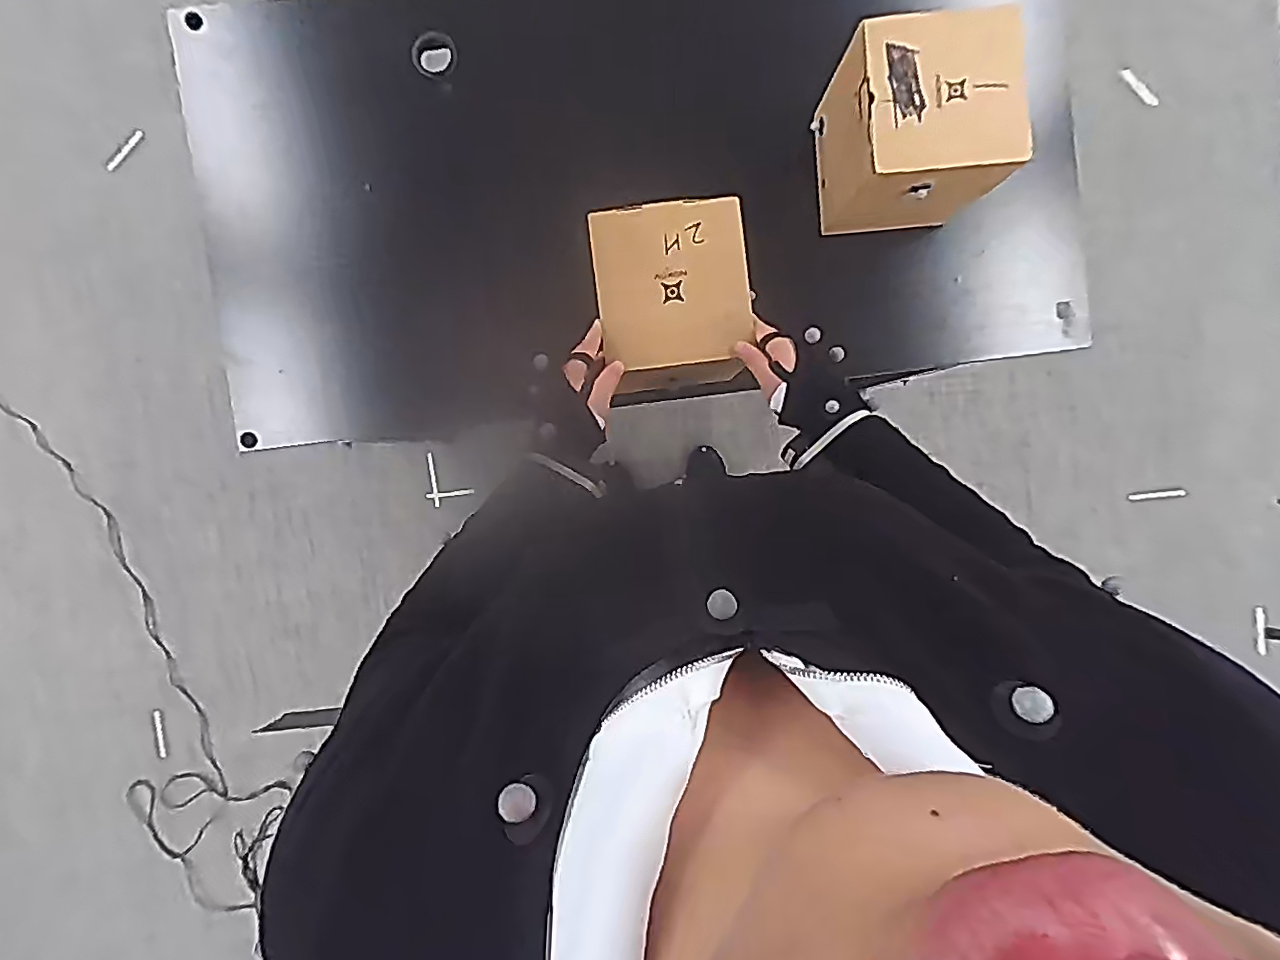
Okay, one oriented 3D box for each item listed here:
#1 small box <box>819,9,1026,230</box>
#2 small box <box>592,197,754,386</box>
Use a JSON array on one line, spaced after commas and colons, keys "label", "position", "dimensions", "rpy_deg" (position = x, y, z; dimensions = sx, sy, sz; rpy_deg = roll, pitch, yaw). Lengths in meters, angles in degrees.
[{"label": "small box", "position": [0.332, -0.428, 0.671], "dimensions": [0.179, 0.176, 0.168], "rpy_deg": [-5, 93, 0]}, {"label": "small box", "position": [0.037, -0.217, 0.672], "dimensions": [0.168, 0.176, 0.179], "rpy_deg": [-7, 91, -1]}]
